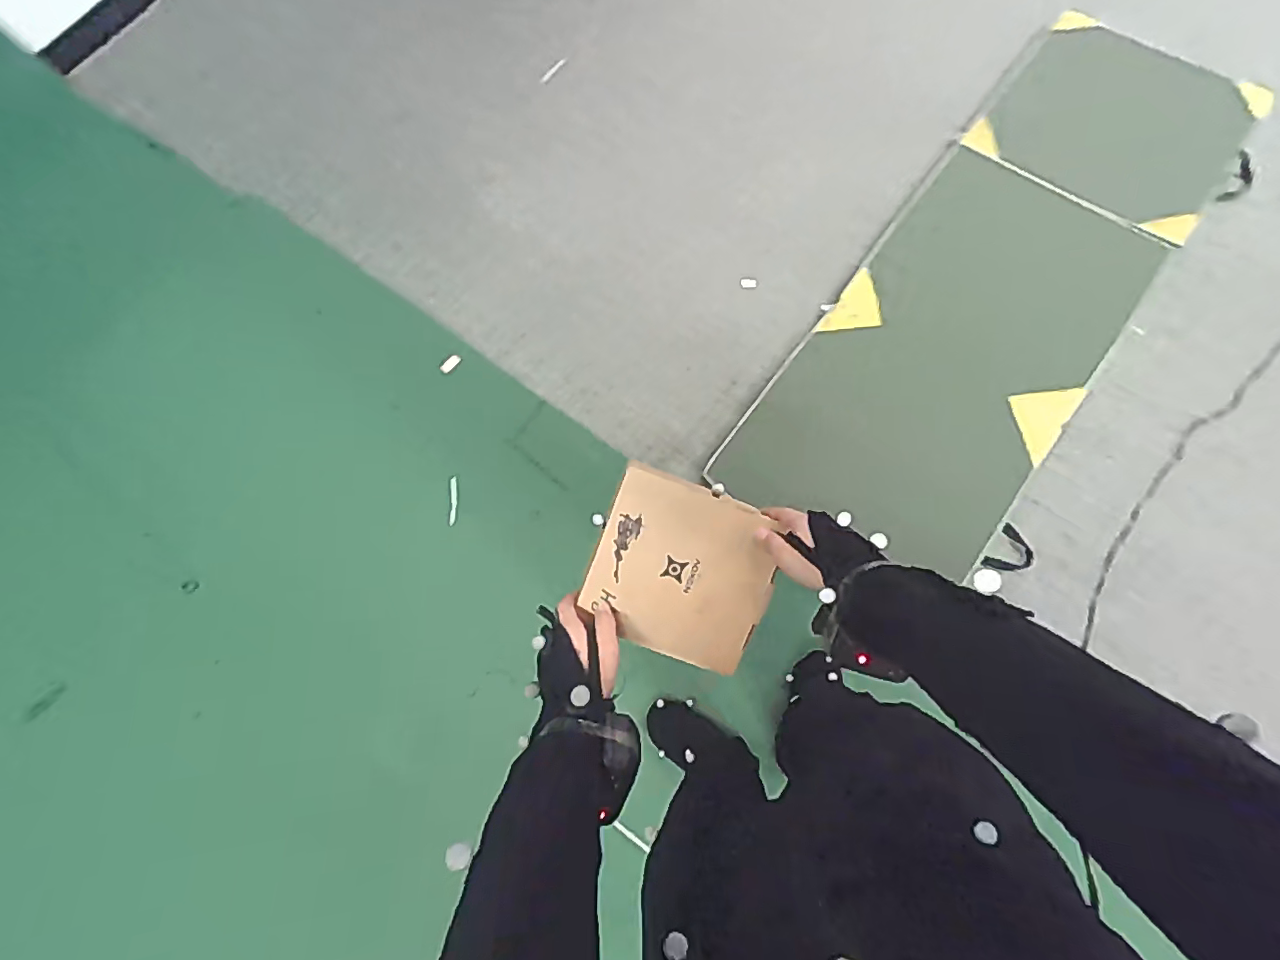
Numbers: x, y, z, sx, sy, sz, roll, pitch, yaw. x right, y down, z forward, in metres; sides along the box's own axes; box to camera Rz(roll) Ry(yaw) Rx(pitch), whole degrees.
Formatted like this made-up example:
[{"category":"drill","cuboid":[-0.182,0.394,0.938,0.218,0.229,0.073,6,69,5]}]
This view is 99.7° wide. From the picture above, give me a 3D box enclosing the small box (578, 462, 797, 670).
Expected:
[{"category":"small box","cuboid":[0.045,0.082,0.616,0.179,0.176,0.168,22,92,-3]}]
